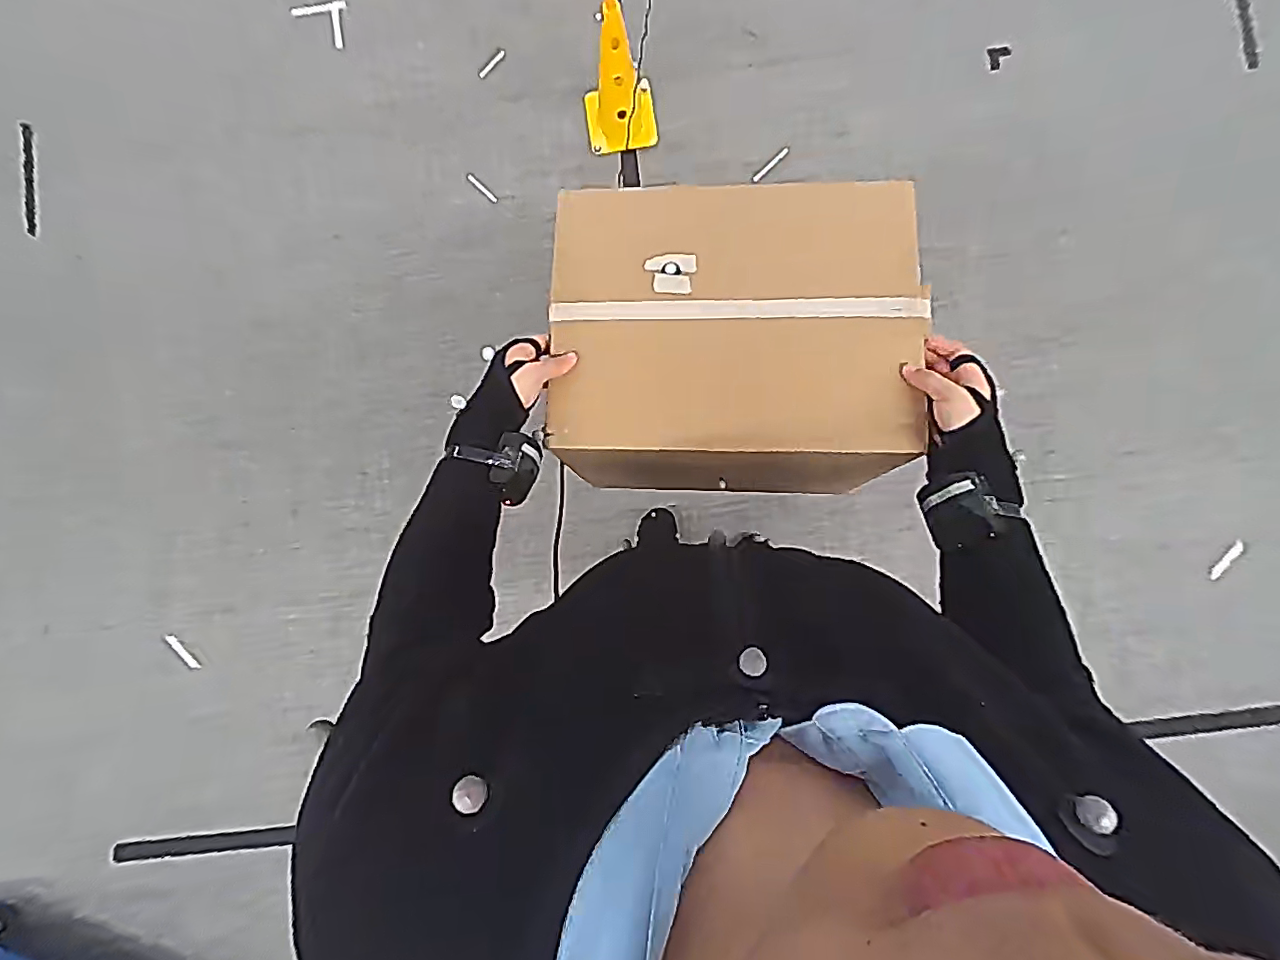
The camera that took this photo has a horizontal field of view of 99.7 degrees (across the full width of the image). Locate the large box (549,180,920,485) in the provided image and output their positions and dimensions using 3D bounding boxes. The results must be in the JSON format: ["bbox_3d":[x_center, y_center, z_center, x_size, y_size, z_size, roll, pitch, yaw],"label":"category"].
[{"bbox_3d":[0.115,-0.164,0.751,0.408,0.320,0.320,1,80,6],"label":"large box"}]
